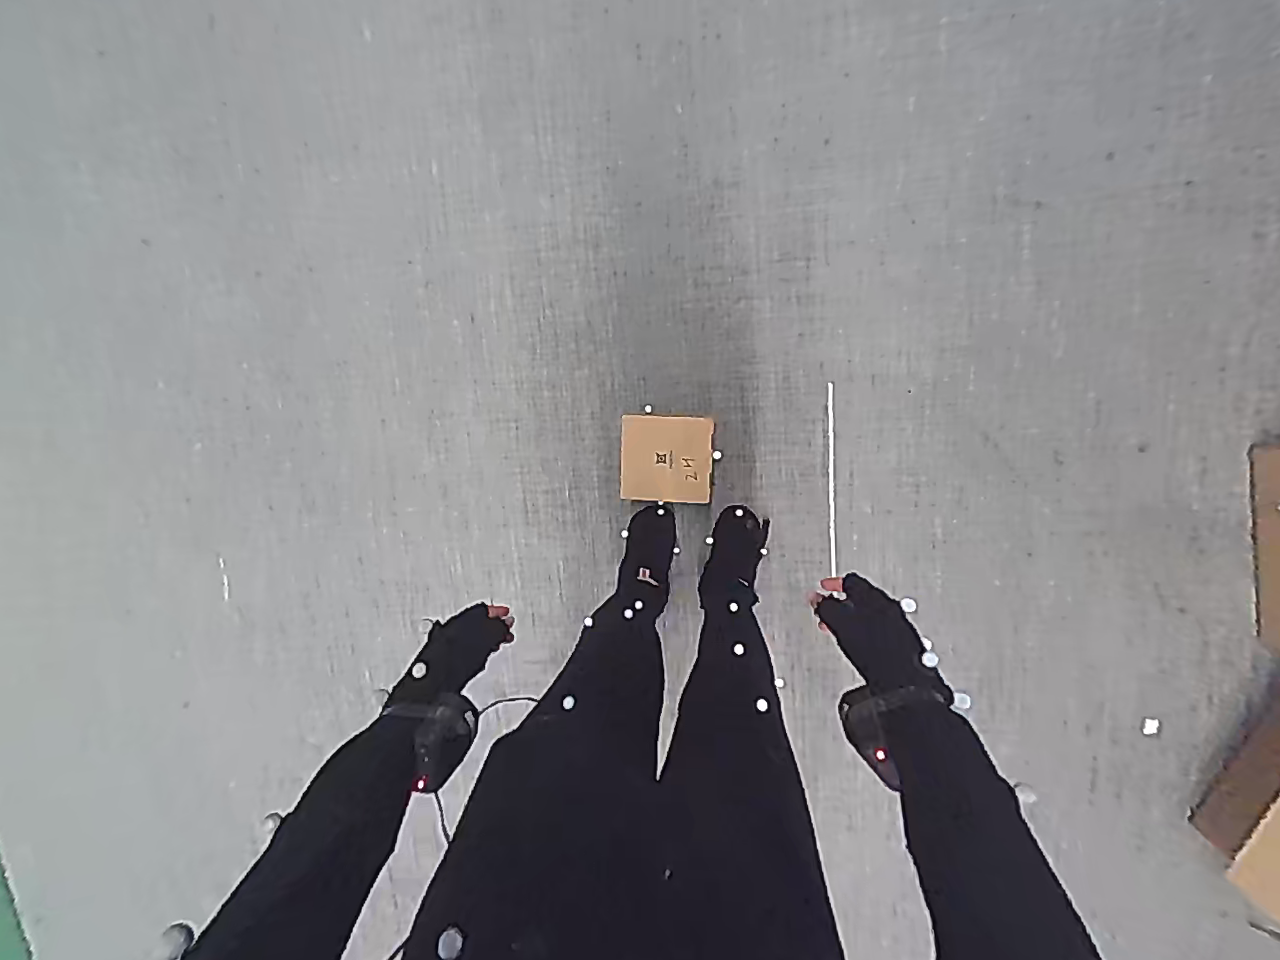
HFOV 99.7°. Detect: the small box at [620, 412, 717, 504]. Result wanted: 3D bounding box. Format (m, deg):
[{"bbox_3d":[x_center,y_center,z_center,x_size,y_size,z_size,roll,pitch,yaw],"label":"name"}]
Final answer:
[{"bbox_3d":[0.063,-0.052,1.103,0.179,0.176,0.168,4,100,8],"label":"small box"}]
